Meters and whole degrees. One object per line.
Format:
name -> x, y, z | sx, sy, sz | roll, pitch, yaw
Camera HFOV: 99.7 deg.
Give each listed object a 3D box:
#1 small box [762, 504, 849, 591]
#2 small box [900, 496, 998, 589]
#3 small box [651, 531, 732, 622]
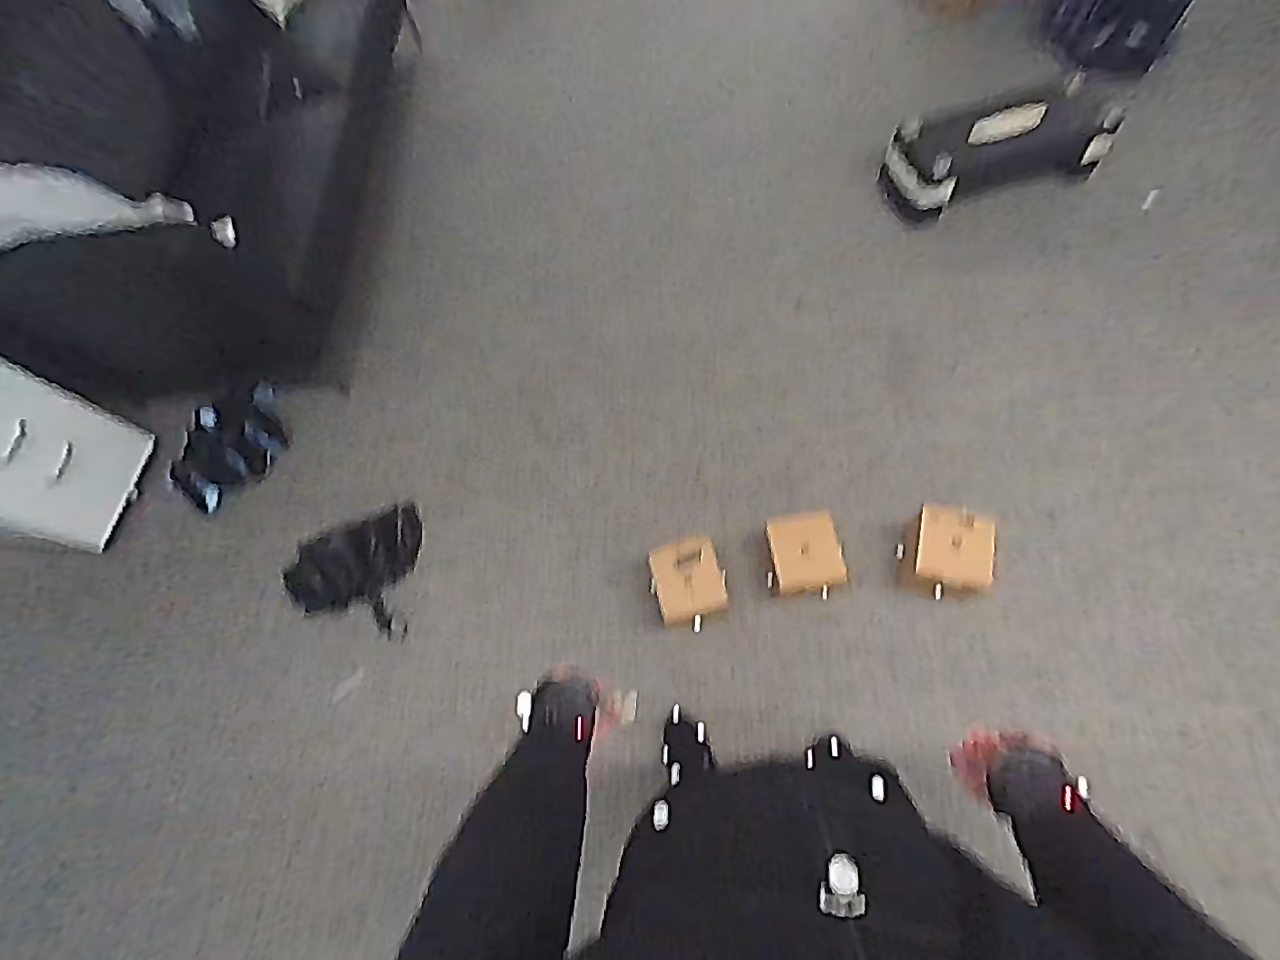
small box -> 0.422, 0.183, 1.407 | 0.168, 0.176, 0.179 | -11, 65, 3
small box -> 0.768, 0.162, 1.360 | 0.168, 0.176, 0.179 | 12, 70, 14
small box -> 0.134, 0.256, 1.416 | 0.168, 0.176, 0.179 | -17, 67, 2
